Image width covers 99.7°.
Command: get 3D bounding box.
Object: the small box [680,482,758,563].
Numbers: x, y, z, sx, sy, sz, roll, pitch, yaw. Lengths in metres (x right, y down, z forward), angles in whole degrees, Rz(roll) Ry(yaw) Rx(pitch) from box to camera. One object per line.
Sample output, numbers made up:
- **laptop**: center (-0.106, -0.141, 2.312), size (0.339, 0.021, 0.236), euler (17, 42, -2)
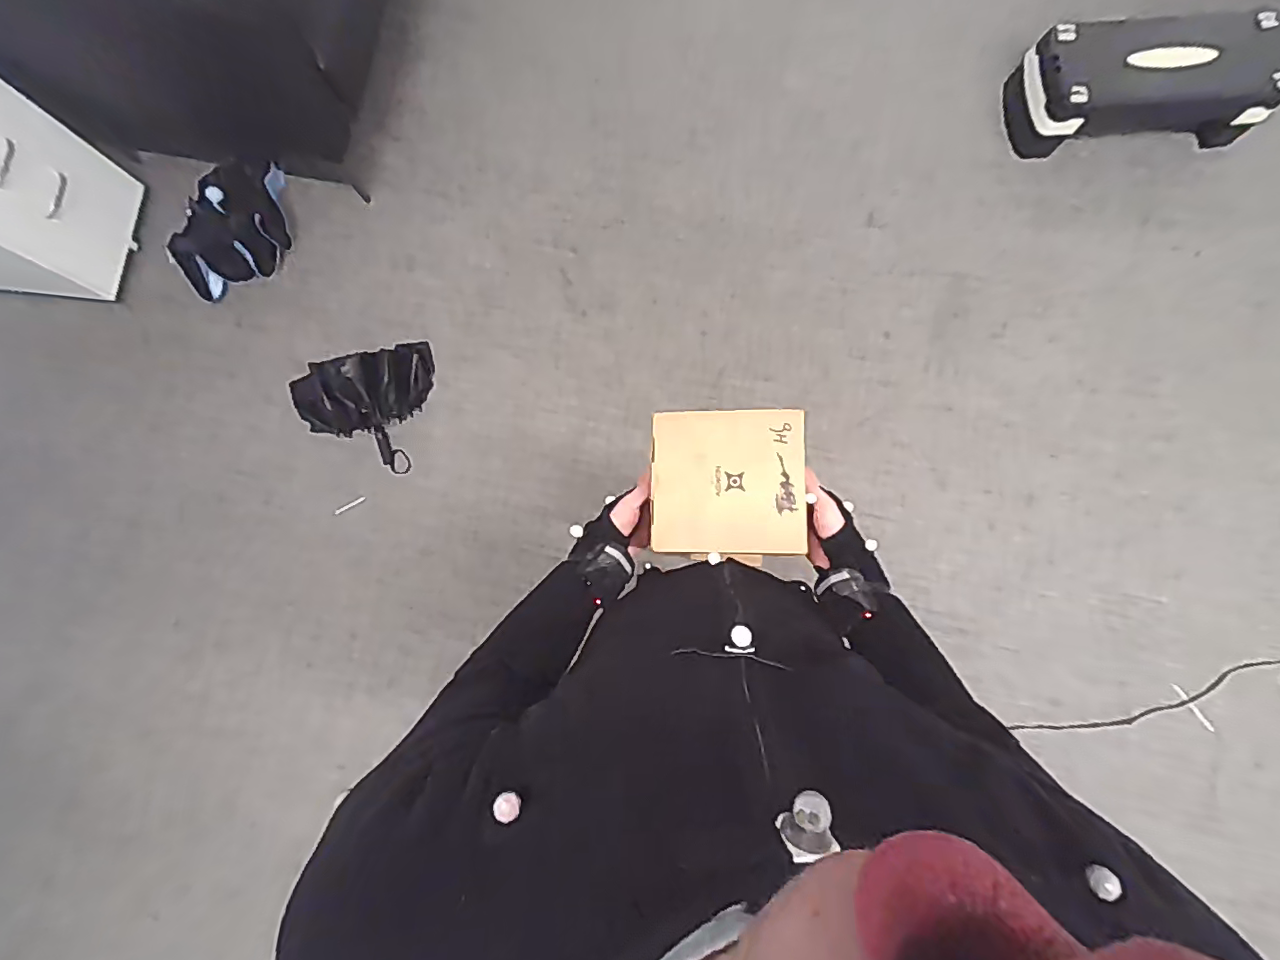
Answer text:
- **small box**: center (0.190, 0.109, 1.343), size (0.168, 0.176, 0.179), euler (6, 82, 3)
